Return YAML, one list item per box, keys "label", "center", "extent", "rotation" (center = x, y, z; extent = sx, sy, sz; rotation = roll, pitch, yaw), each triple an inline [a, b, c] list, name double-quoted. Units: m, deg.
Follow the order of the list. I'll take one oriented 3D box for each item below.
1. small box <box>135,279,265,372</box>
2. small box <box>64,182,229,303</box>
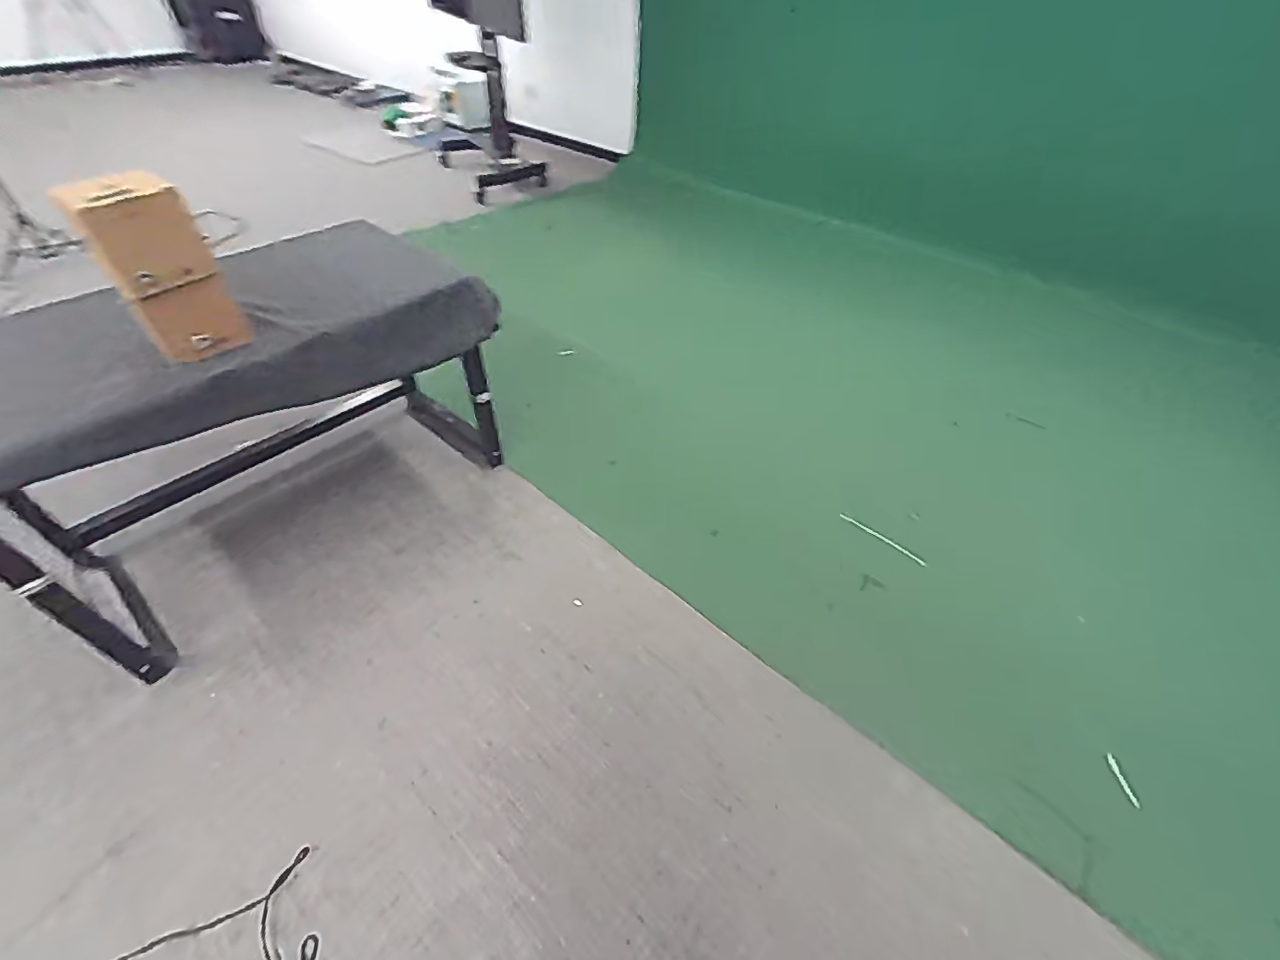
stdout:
- label: "small box"
  center: [-1.001, -0.371, 1.225]
  extent: [0.179, 0.176, 0.168]
  rotation: [34, 54, 27]
- label: "small box"
  center: [-0.993, -0.481, 1.102]
  extent: [0.179, 0.176, 0.168]
  rotation: [29, 52, 27]
